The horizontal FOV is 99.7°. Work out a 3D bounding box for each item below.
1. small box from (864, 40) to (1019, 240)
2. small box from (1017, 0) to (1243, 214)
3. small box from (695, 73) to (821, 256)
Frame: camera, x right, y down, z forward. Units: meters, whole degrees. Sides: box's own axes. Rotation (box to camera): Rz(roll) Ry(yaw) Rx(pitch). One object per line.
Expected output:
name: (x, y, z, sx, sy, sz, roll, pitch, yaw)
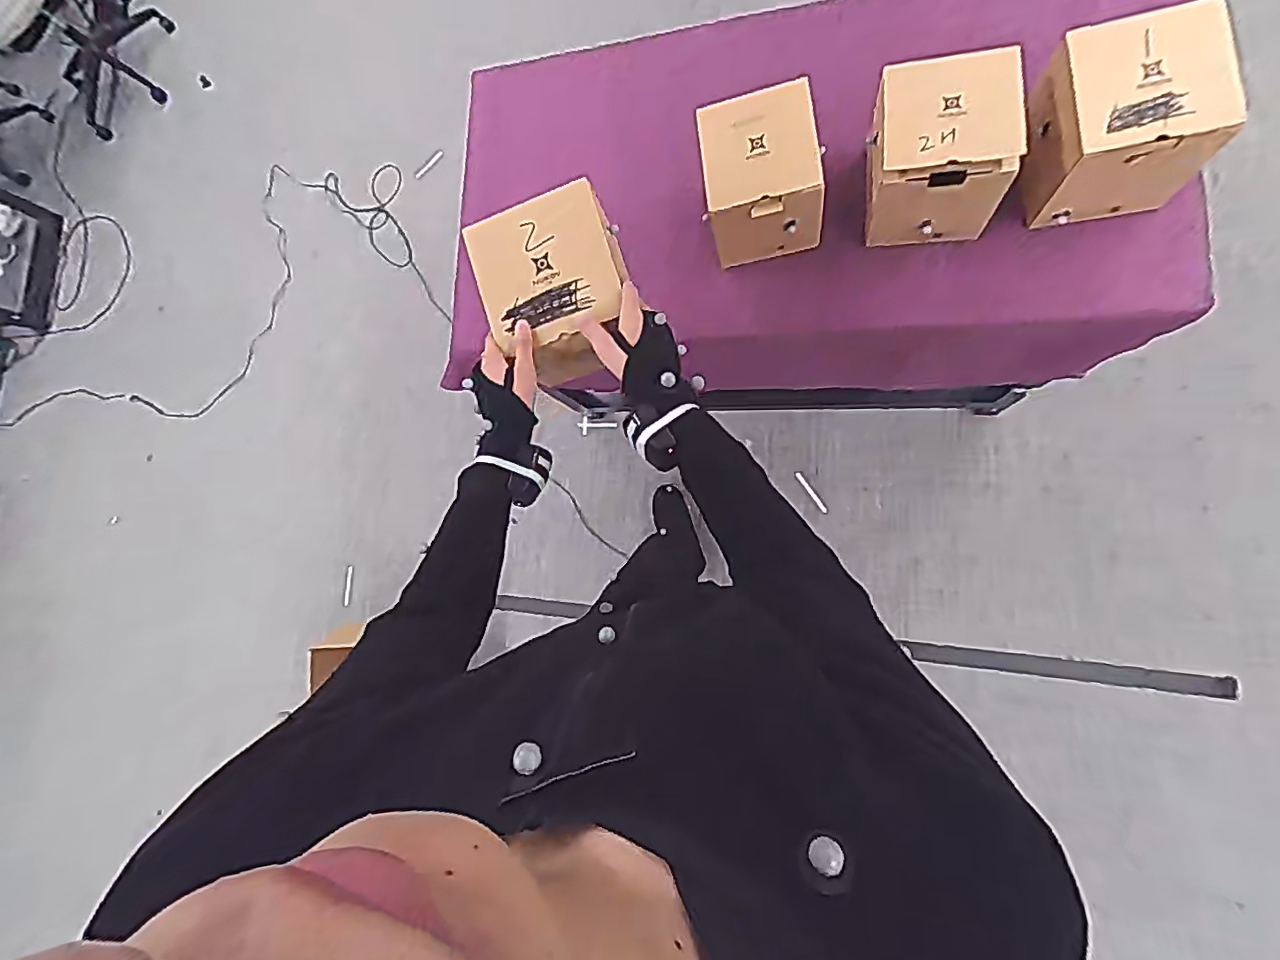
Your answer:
small box: (0.427, -0.481, 0.790, 0.168, 0.176, 0.179, 2, 85, 16)
small box: (0.640, -0.489, 0.733, 0.168, 0.176, 0.179, -4, 82, 15)
small box: (0.189, -0.480, 0.858, 0.168, 0.176, 0.179, -8, 82, 14)
